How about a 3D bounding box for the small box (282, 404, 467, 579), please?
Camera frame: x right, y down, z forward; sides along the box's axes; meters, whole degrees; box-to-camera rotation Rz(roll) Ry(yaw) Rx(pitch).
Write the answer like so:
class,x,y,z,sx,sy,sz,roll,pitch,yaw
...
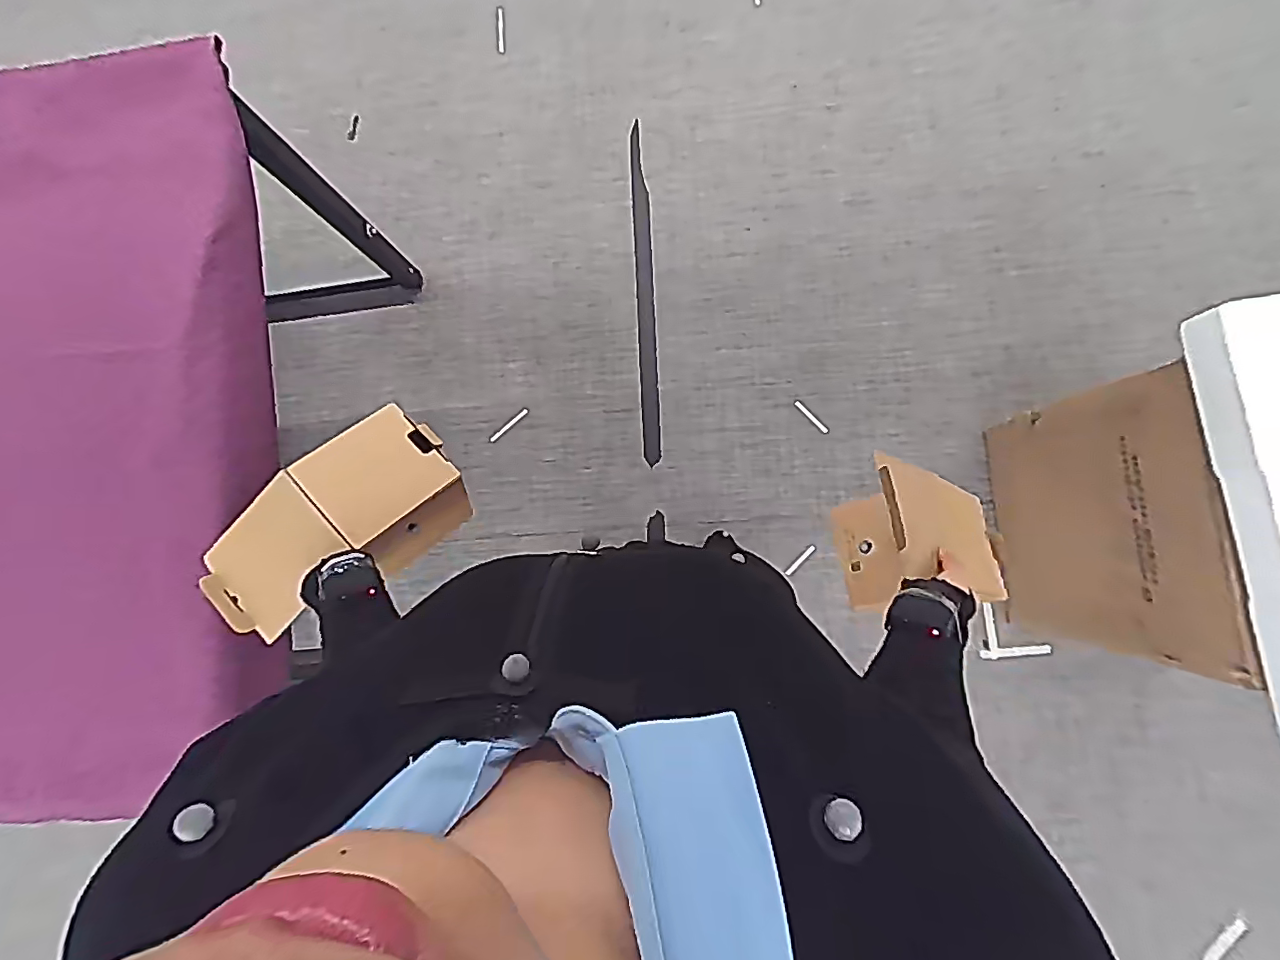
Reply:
class,x,y,z,sx,sy,sz,roll,pitch,yaw
small box,-0.387,0.025,0.826,0.168,0.176,0.179,44,66,10
